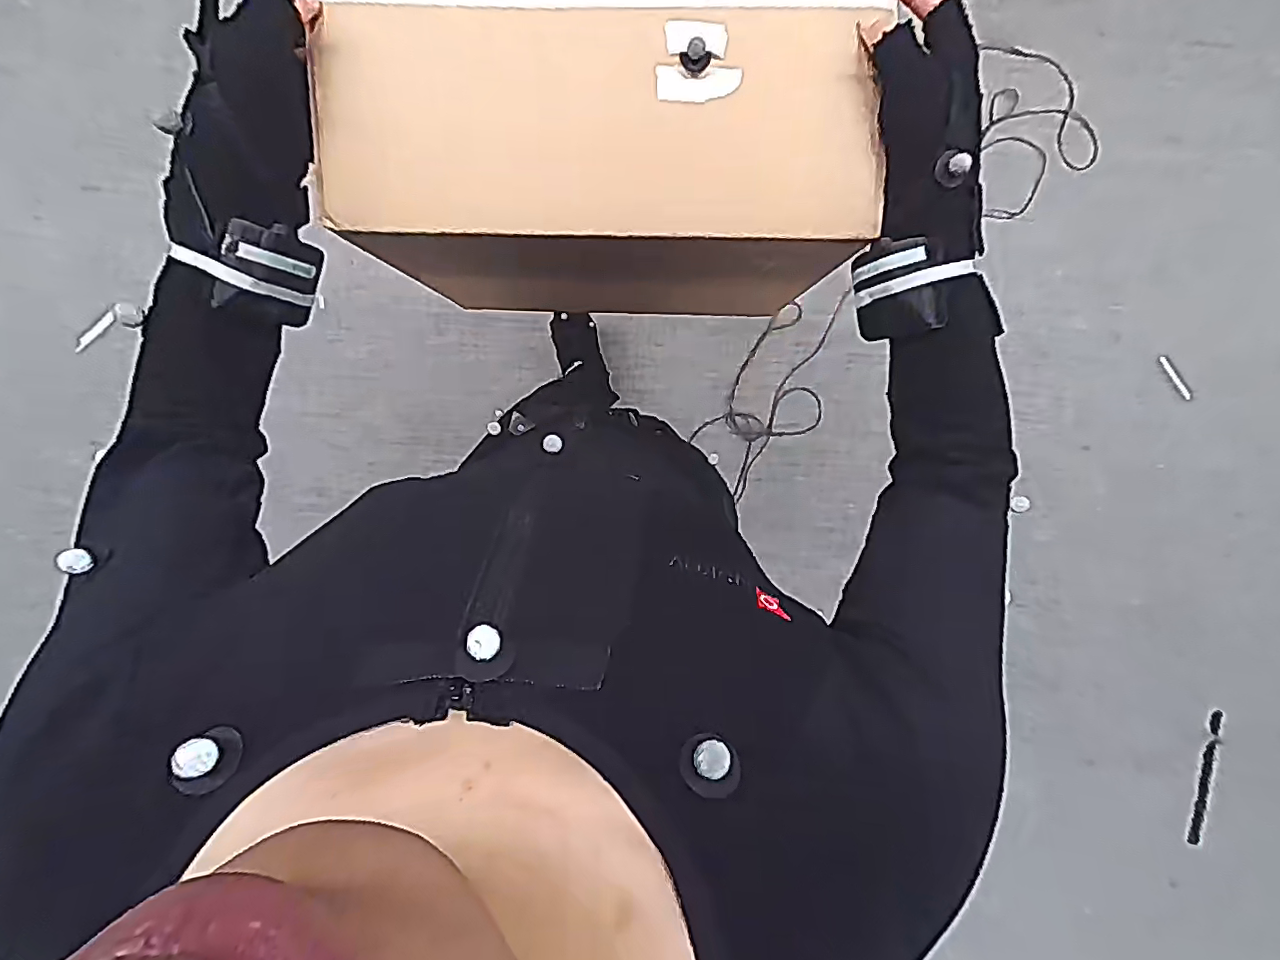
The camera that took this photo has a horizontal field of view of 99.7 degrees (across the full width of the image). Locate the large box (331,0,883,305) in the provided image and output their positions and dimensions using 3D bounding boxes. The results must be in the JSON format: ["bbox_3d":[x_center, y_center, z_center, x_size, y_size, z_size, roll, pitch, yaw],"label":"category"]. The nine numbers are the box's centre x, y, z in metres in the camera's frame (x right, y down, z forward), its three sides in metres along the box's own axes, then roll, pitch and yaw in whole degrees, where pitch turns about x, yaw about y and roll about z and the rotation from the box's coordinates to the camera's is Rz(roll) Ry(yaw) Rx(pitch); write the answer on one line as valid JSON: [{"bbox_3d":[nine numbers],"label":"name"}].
[{"bbox_3d":[-0.025,-0.363,0.535,0.408,0.320,0.320,1,97,-1],"label":"large box"}]
